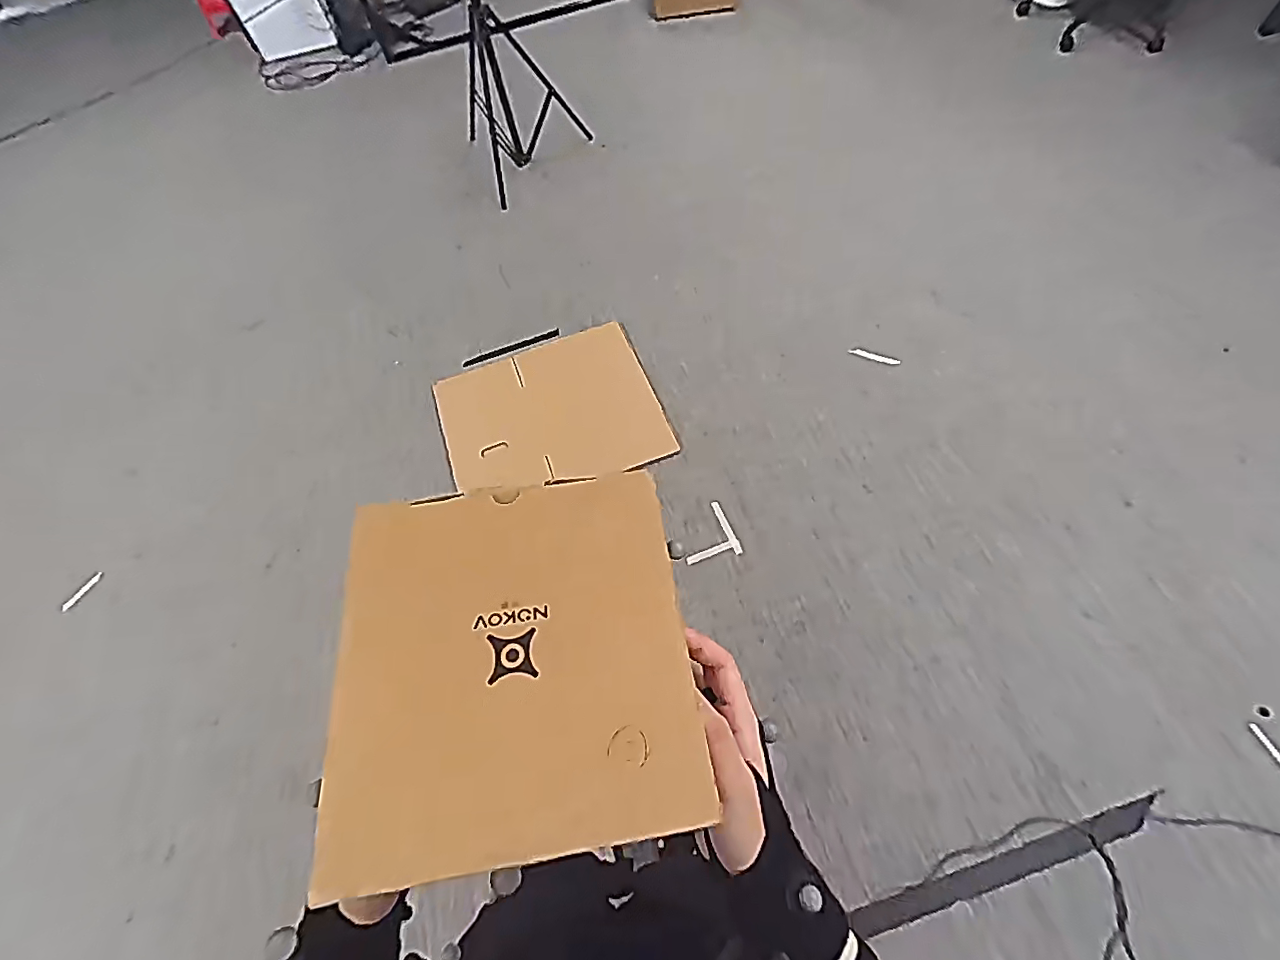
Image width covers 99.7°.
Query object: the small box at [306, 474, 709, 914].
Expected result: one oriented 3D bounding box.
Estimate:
[{"bbox_3d":[-0.062,0.122,0.324,0.168,0.176,0.179,-9,59,-5],"label":"small box"}]
